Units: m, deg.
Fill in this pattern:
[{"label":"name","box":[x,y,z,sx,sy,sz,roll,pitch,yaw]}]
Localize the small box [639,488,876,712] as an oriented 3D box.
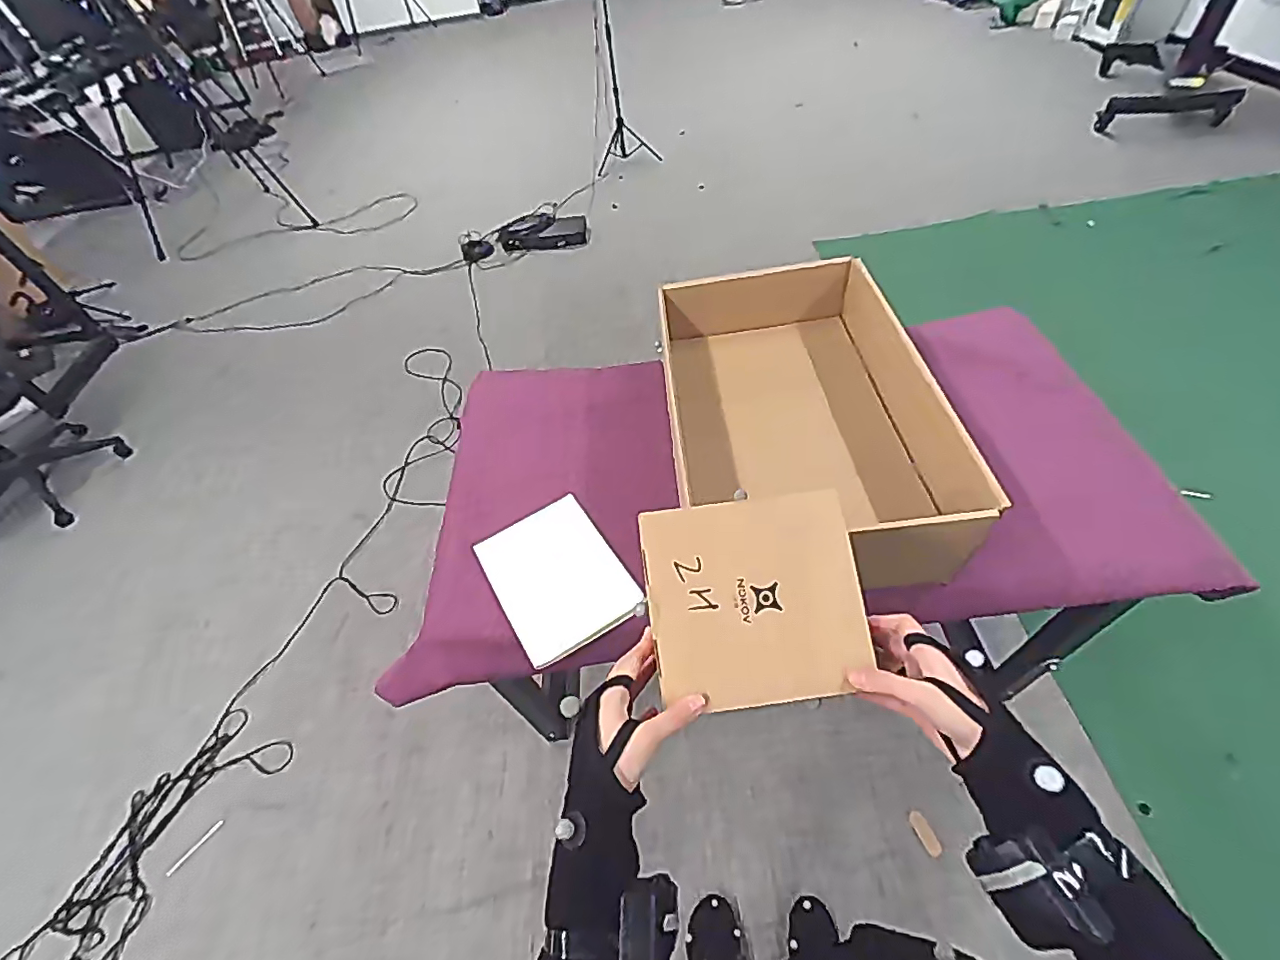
[{"label":"small box","box":[0.093,0.110,0.518,0.179,0.176,0.168,-7,77,0]}]
